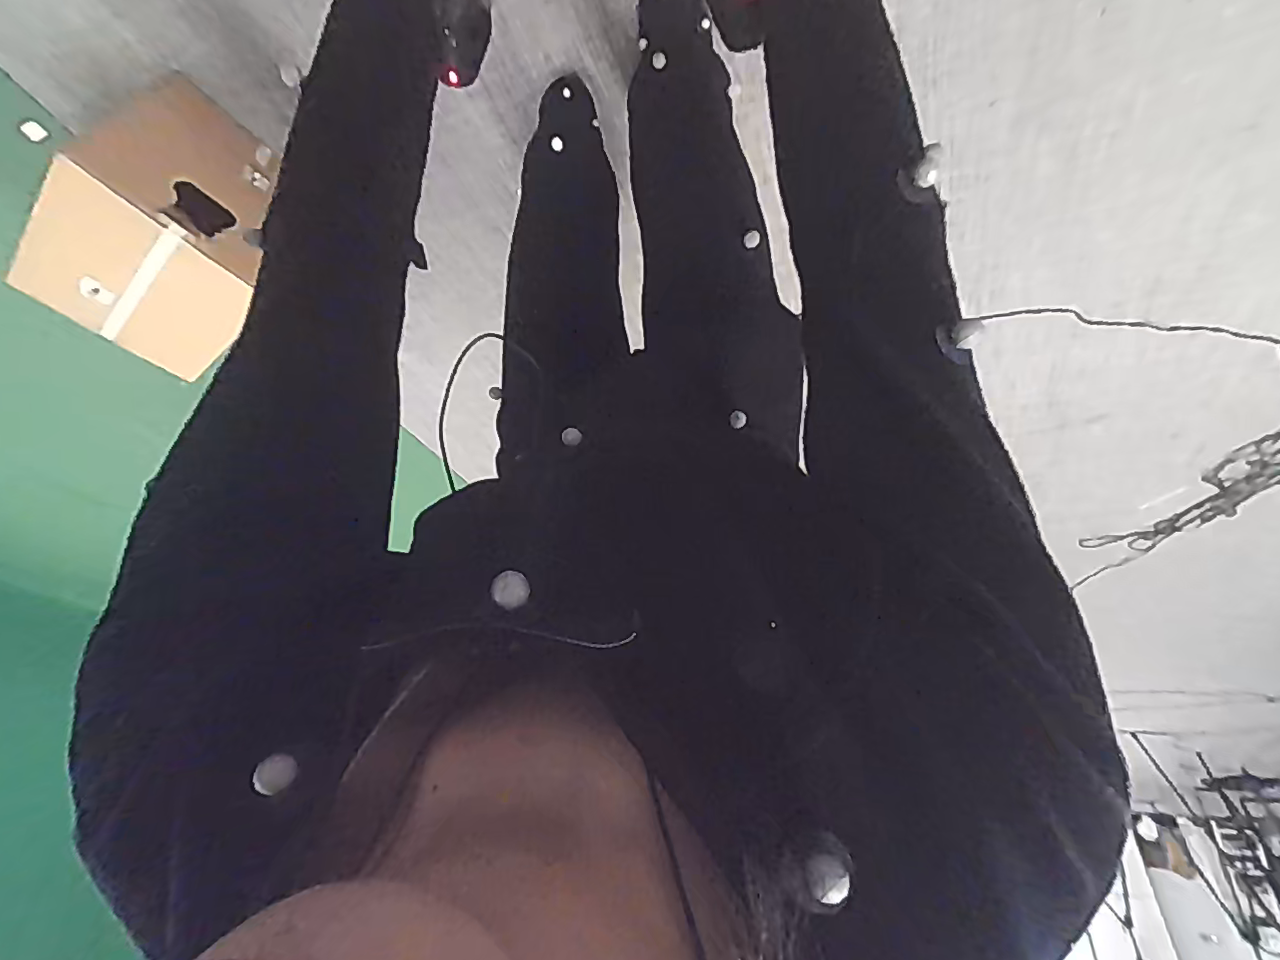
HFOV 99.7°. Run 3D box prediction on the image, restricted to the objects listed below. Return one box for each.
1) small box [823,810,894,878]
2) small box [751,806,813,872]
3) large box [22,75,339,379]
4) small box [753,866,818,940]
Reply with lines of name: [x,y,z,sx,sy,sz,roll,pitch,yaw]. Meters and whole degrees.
small box: [0.700,1.181,1.756,0.179,0.176,0.168,-2,143,10]
small box: [0.472,1.192,1.800,0.179,0.176,0.168,-9,143,20]
large box: [-0.889,-0.475,1.075,0.408,0.320,0.320,-19,137,32]
small box: [0.458,1.326,1.707,0.179,0.176,0.168,-8,144,20]
